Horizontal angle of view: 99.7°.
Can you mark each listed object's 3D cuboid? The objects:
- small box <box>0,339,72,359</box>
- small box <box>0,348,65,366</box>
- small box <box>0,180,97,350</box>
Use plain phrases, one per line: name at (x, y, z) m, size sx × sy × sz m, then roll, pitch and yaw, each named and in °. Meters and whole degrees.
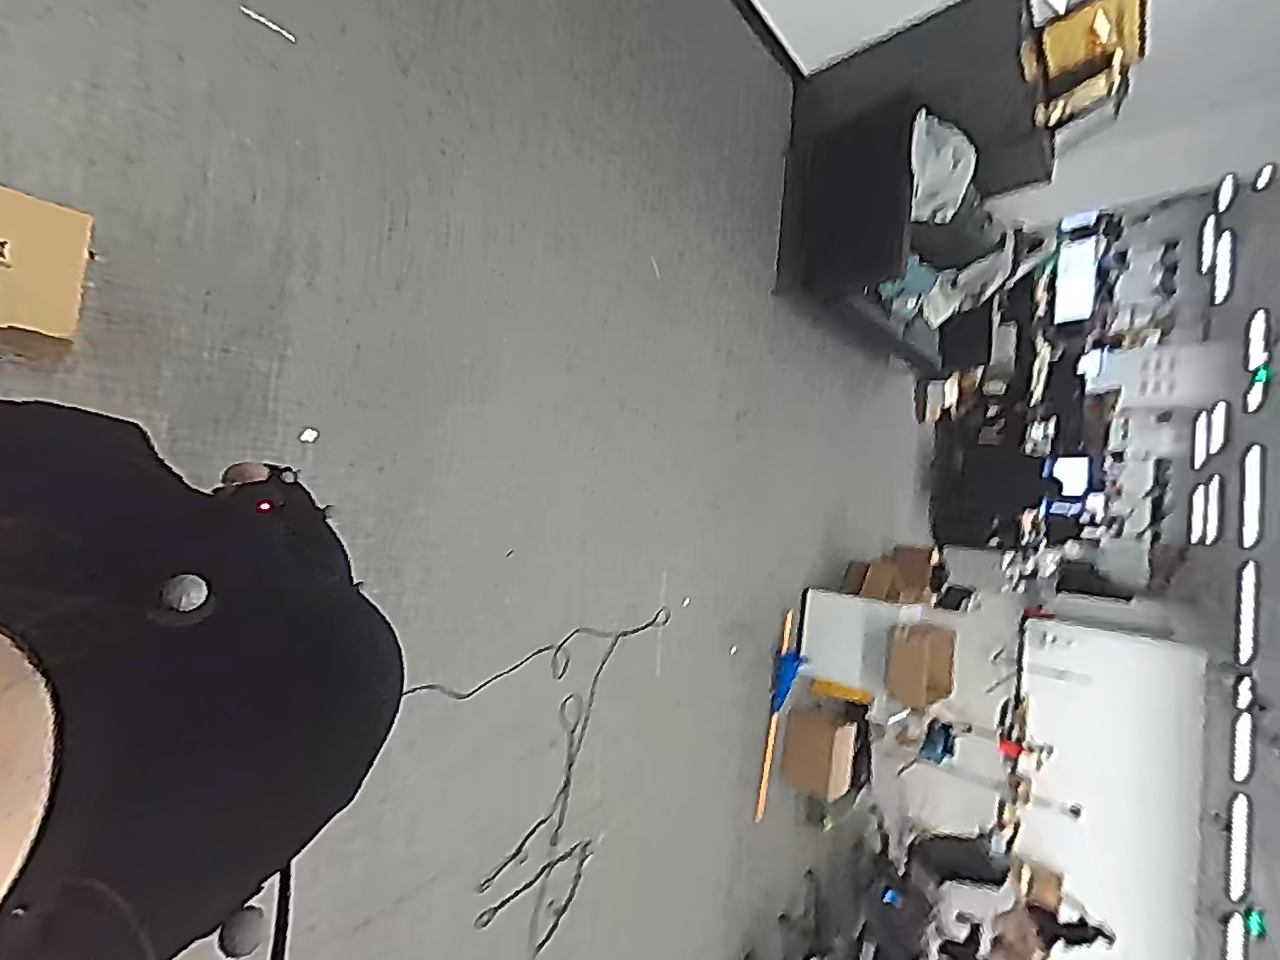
small box at (-0.979, -0.298, 0.830) m, size 0.168 × 0.176 × 0.179 m, roll 9°, pitch 87°, yaw -46°
small box at (-1.100, -0.307, 0.937) m, size 0.168 × 0.176 × 0.179 m, roll 14°, pitch 83°, yaw -47°
small box at (-0.856, -0.288, 0.720) m, size 0.168 × 0.176 × 0.179 m, roll 9°, pitch 85°, yaw -46°
